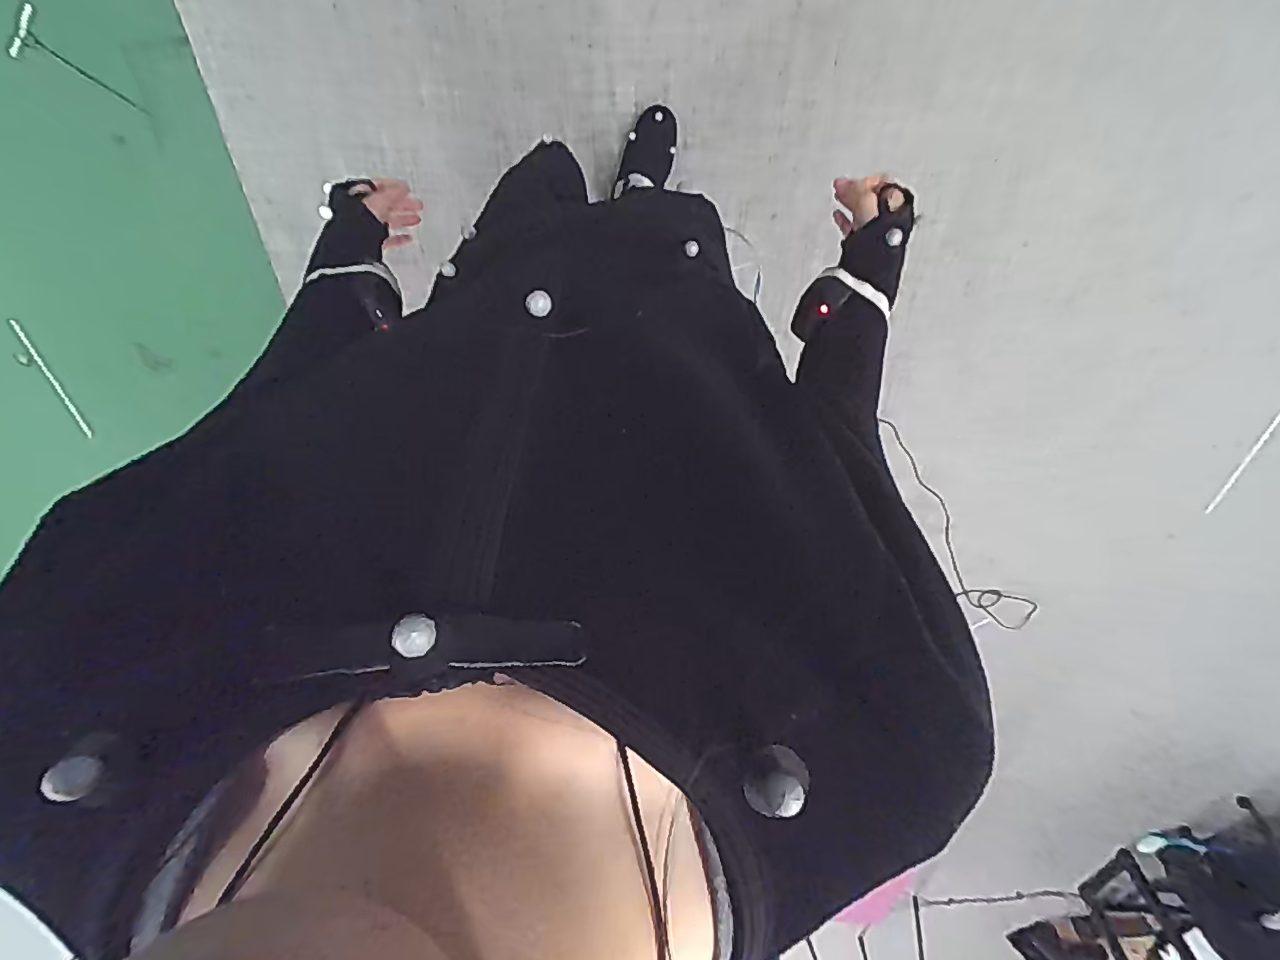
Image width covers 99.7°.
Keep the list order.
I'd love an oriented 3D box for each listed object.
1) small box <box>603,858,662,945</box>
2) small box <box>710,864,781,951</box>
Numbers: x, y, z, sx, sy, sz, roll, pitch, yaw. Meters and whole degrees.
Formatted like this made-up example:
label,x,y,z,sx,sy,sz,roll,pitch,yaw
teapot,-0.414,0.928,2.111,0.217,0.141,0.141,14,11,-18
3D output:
label,x,y,z,sx,sy,sz,roll,pitch,yaw
small box,-0.025,1.266,1.626,0.168,0.176,0.179,3,126,-1
small box,0.309,1.279,1.625,0.179,0.176,0.168,2,126,0
